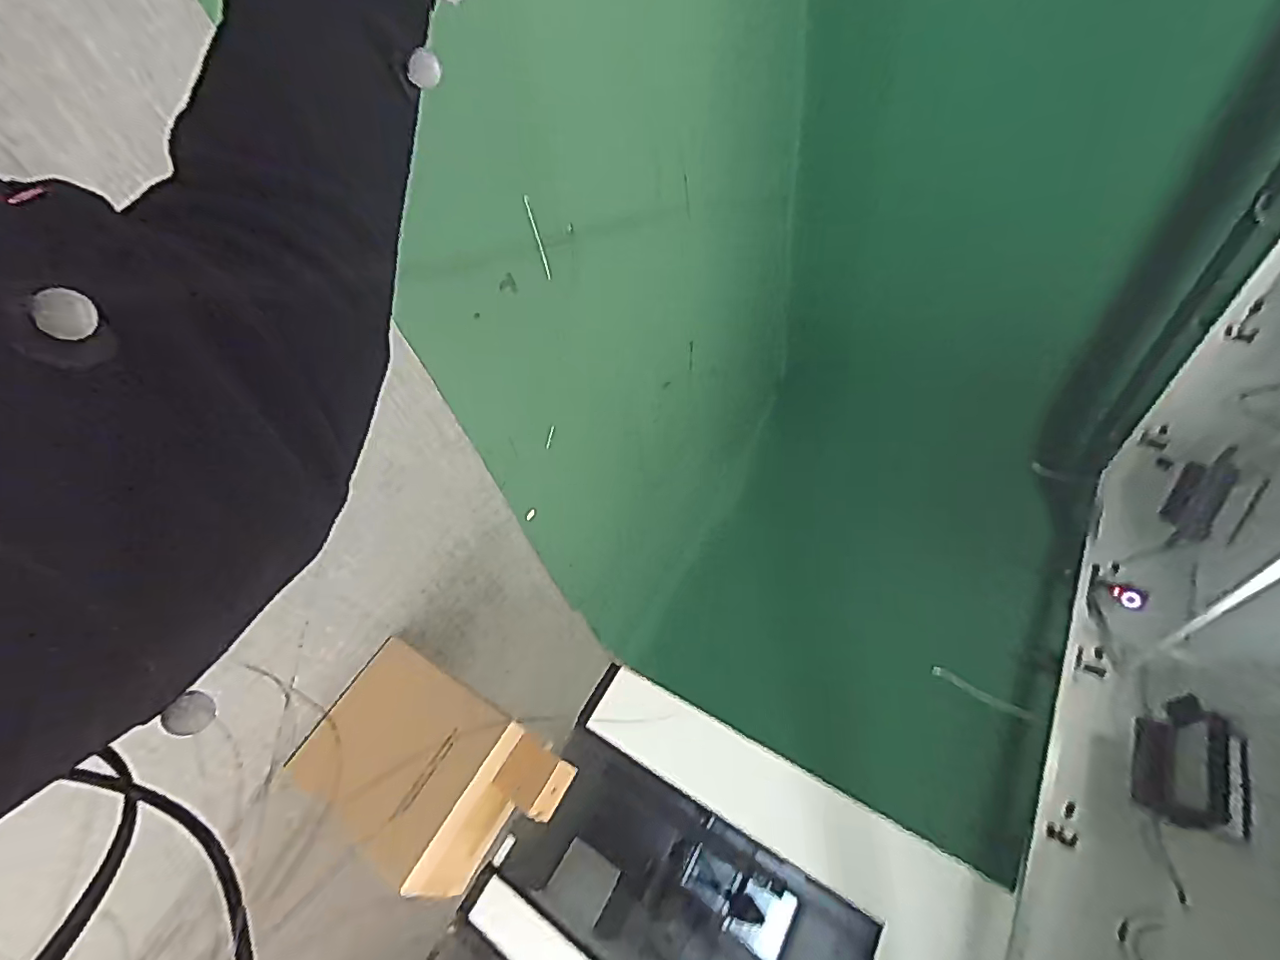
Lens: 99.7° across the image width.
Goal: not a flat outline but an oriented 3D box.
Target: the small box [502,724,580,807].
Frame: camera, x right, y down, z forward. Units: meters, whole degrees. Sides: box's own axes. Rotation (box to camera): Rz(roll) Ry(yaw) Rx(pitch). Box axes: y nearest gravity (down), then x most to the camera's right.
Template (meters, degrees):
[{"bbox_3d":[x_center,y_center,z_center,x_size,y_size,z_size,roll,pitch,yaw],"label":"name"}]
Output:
[{"bbox_3d":[-0.337,0.953,1.807,0.179,0.176,0.168,-58,148,-25],"label":"small box"}]
